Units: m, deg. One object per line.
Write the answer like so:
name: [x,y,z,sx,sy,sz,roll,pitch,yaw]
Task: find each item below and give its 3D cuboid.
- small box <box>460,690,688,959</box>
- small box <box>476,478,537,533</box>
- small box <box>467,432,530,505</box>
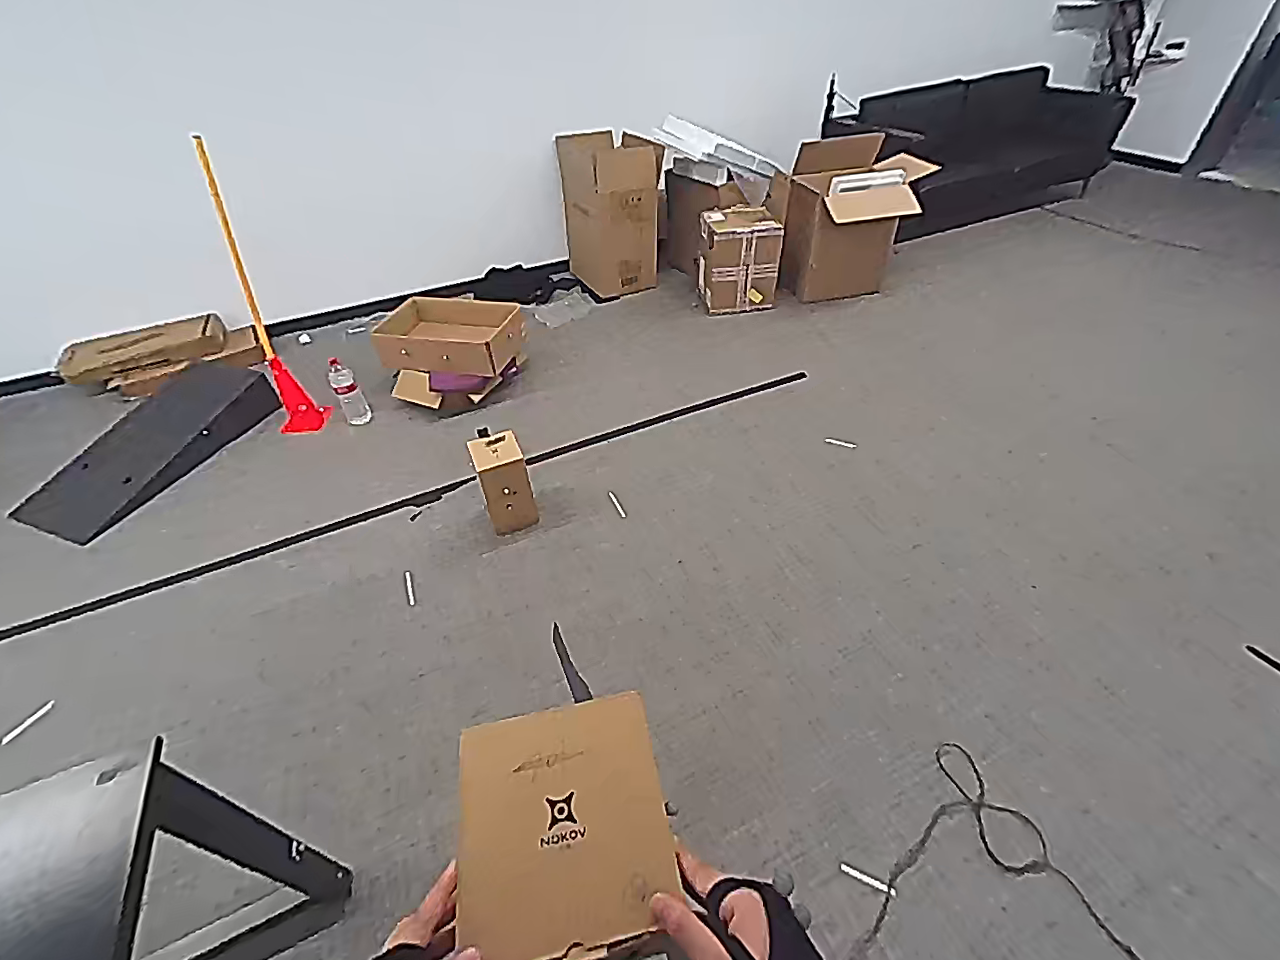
small box: [-0.058,0.323,0.489,0.168,0.176,0.179,-10,45,-8]
small box: [-0.505,0.077,2.055,0.179,0.176,0.168,-18,46,-17]
small box: [-0.506,-0.041,1.940,0.168,0.176,0.179,-19,46,-16]
